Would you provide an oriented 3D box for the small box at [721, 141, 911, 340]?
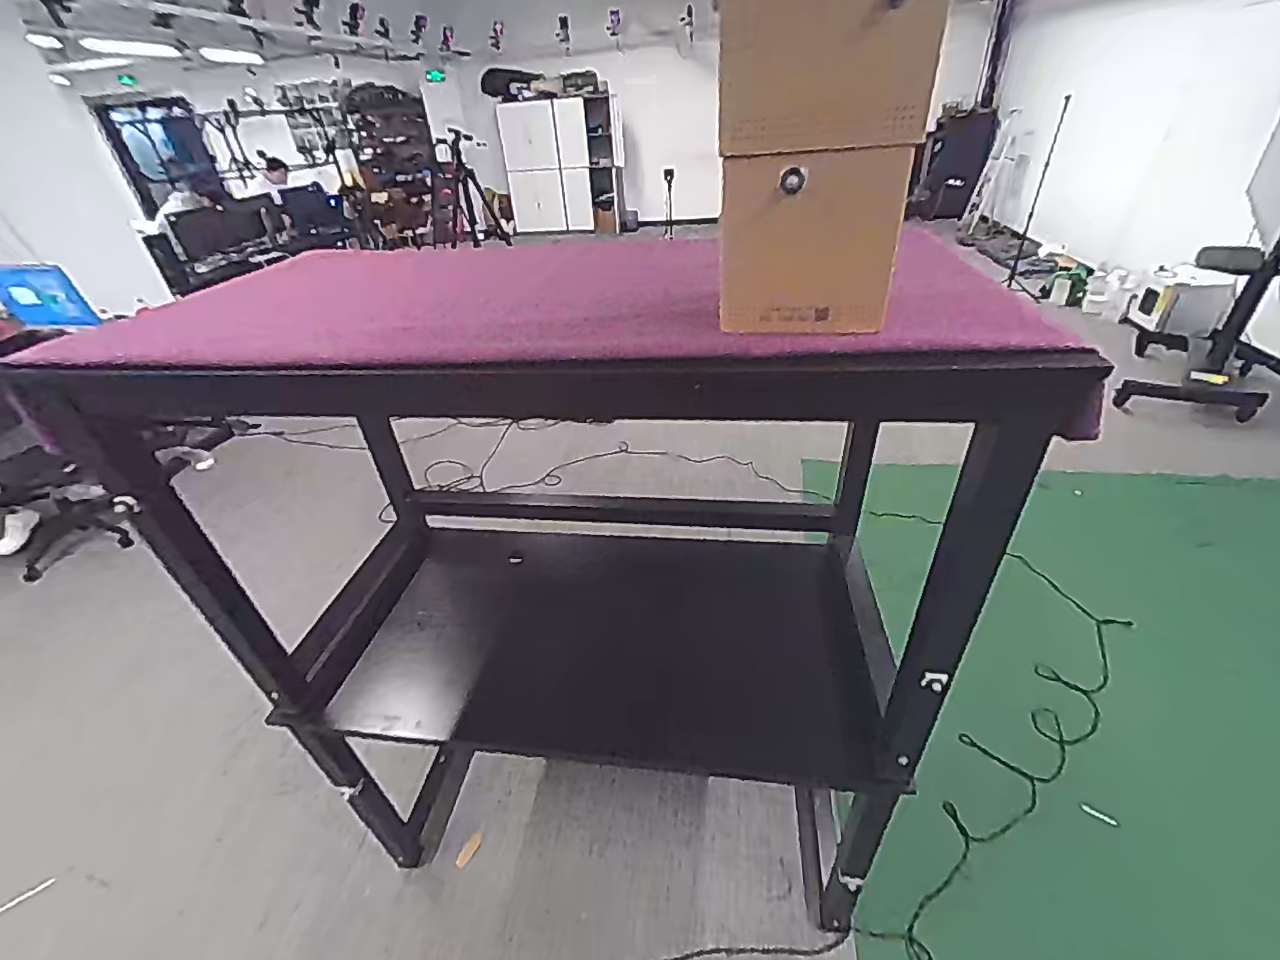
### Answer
[{"bbox_3d":[0.179,-0.263,0.592,0.168,0.176,0.179,3,35,13],"label":"small box"}]
